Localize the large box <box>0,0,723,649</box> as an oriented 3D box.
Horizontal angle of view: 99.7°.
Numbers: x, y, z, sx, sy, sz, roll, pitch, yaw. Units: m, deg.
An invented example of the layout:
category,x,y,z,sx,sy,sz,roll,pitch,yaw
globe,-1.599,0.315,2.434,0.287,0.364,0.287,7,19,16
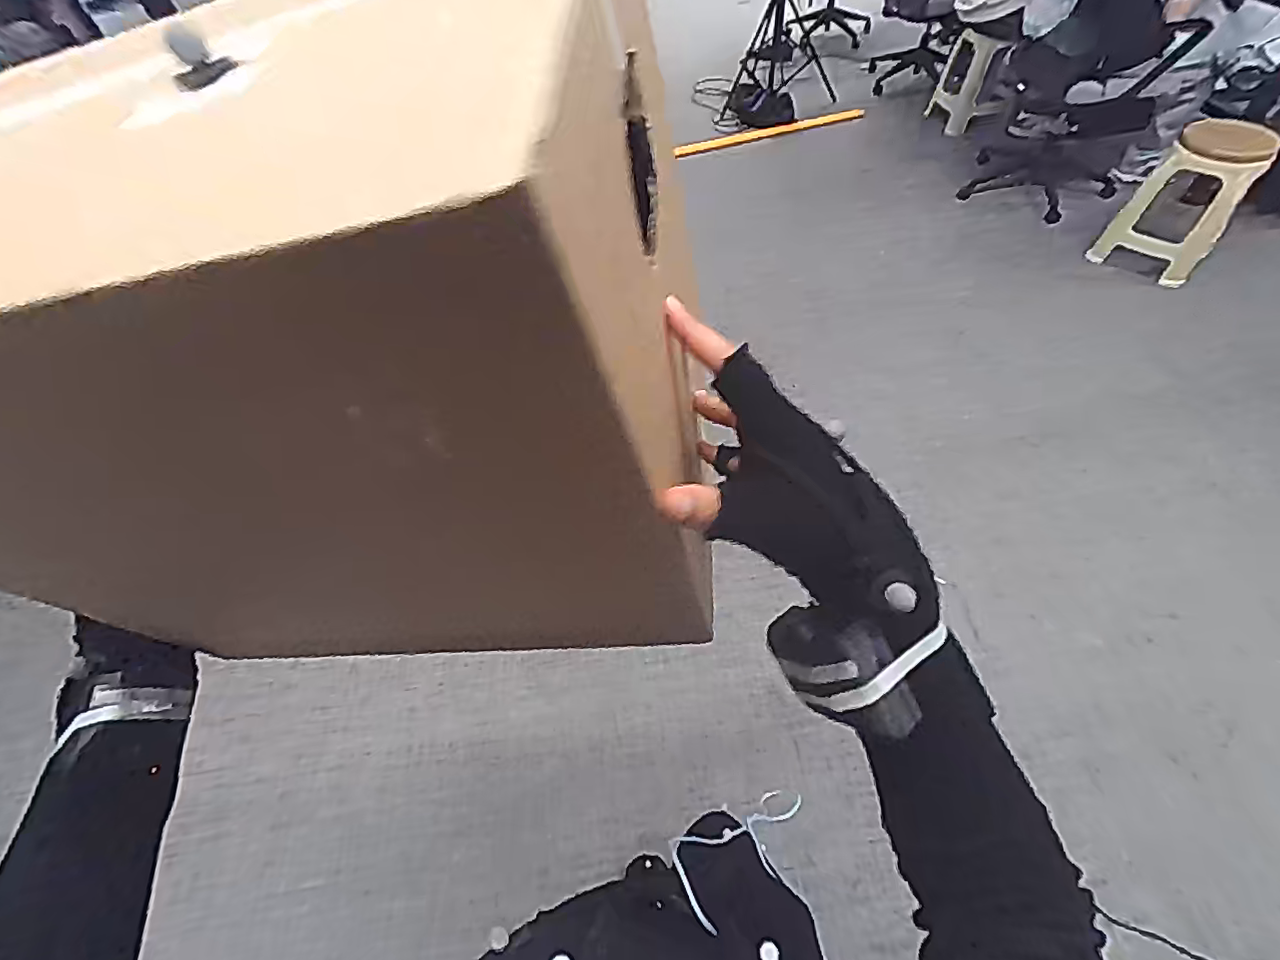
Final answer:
category,x,y,z,sx,sy,sz,roll,pitch,yaw
large box,-0.162,-0.087,0.376,0.408,0.320,0.320,-5,56,11
